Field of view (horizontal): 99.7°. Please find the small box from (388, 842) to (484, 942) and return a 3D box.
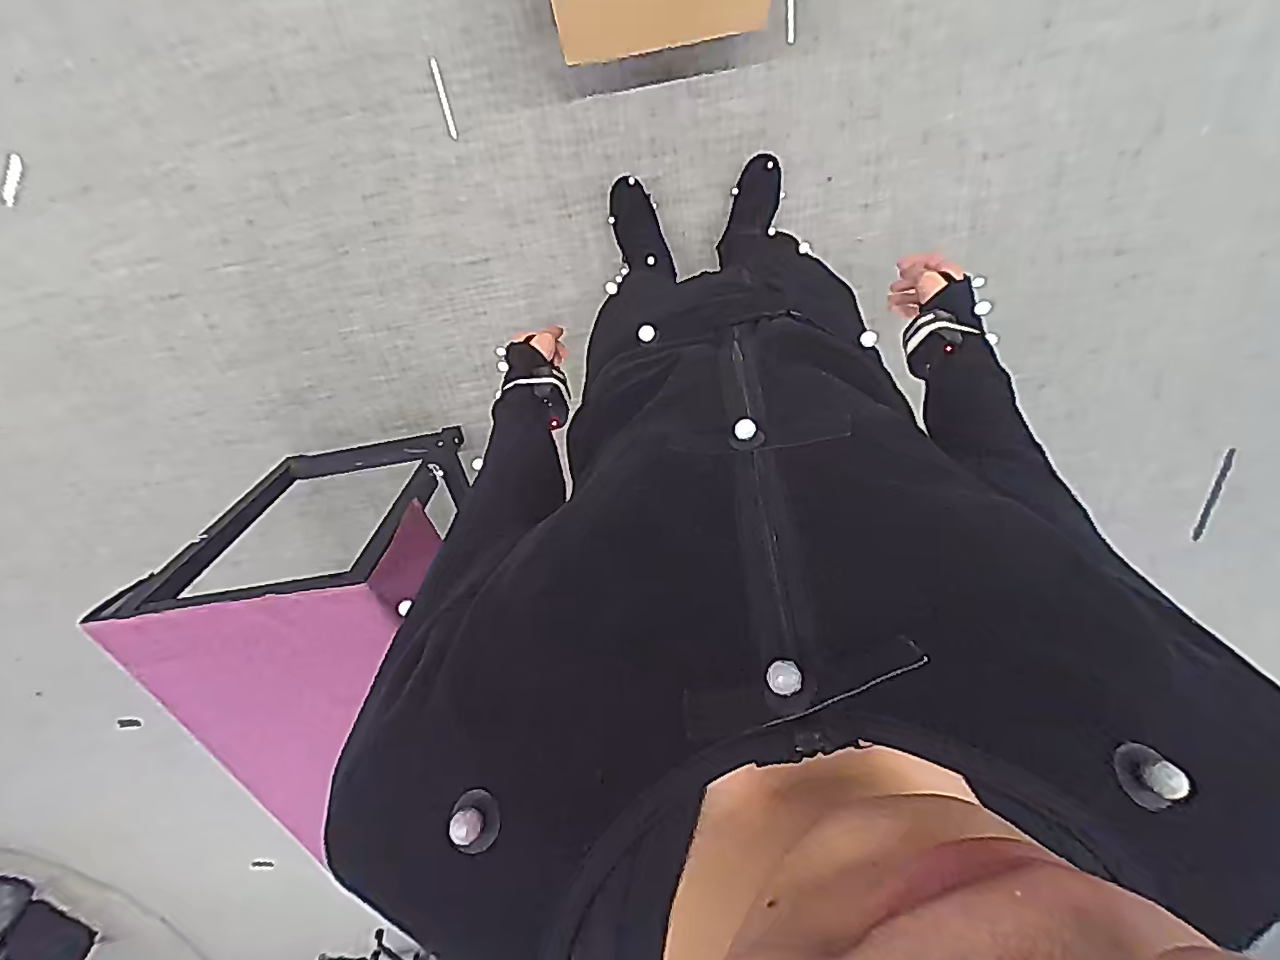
[{"bbox_3d":[-0.559,1.146,1.509,0.179,0.176,0.168,-13,121,6],"label":"small box"}]
